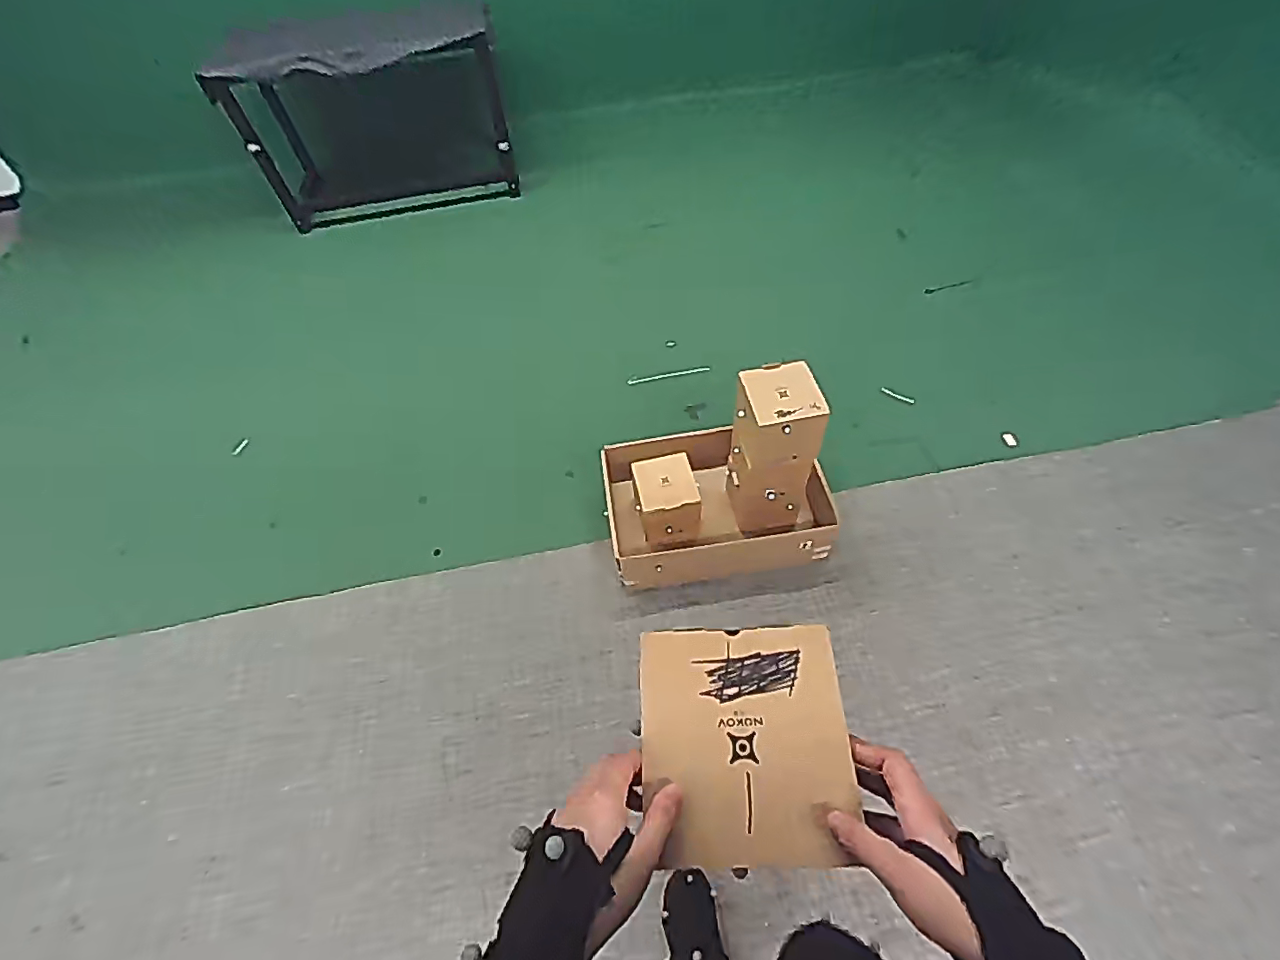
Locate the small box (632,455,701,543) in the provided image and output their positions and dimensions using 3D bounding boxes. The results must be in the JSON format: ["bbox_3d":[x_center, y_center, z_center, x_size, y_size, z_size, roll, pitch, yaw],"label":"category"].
[{"bbox_3d":[0.074,0.057,1.579,0.168,0.176,0.179,-12,55,-5],"label":"small box"}]

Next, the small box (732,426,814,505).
[{"bbox_3d":[0.344,-0.056,1.437,0.168,0.176,0.179,-8,56,0],"label":"small box"}]

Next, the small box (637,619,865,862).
[{"bbox_3d":[0.086,0.238,0.498,0.168,0.176,0.179,-4,60,5],"label":"small box"}]

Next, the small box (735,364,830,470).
[{"bbox_3d":[0.332,-0.149,1.302,0.168,0.176,0.179,-11,54,-2],"label":"small box"}]
